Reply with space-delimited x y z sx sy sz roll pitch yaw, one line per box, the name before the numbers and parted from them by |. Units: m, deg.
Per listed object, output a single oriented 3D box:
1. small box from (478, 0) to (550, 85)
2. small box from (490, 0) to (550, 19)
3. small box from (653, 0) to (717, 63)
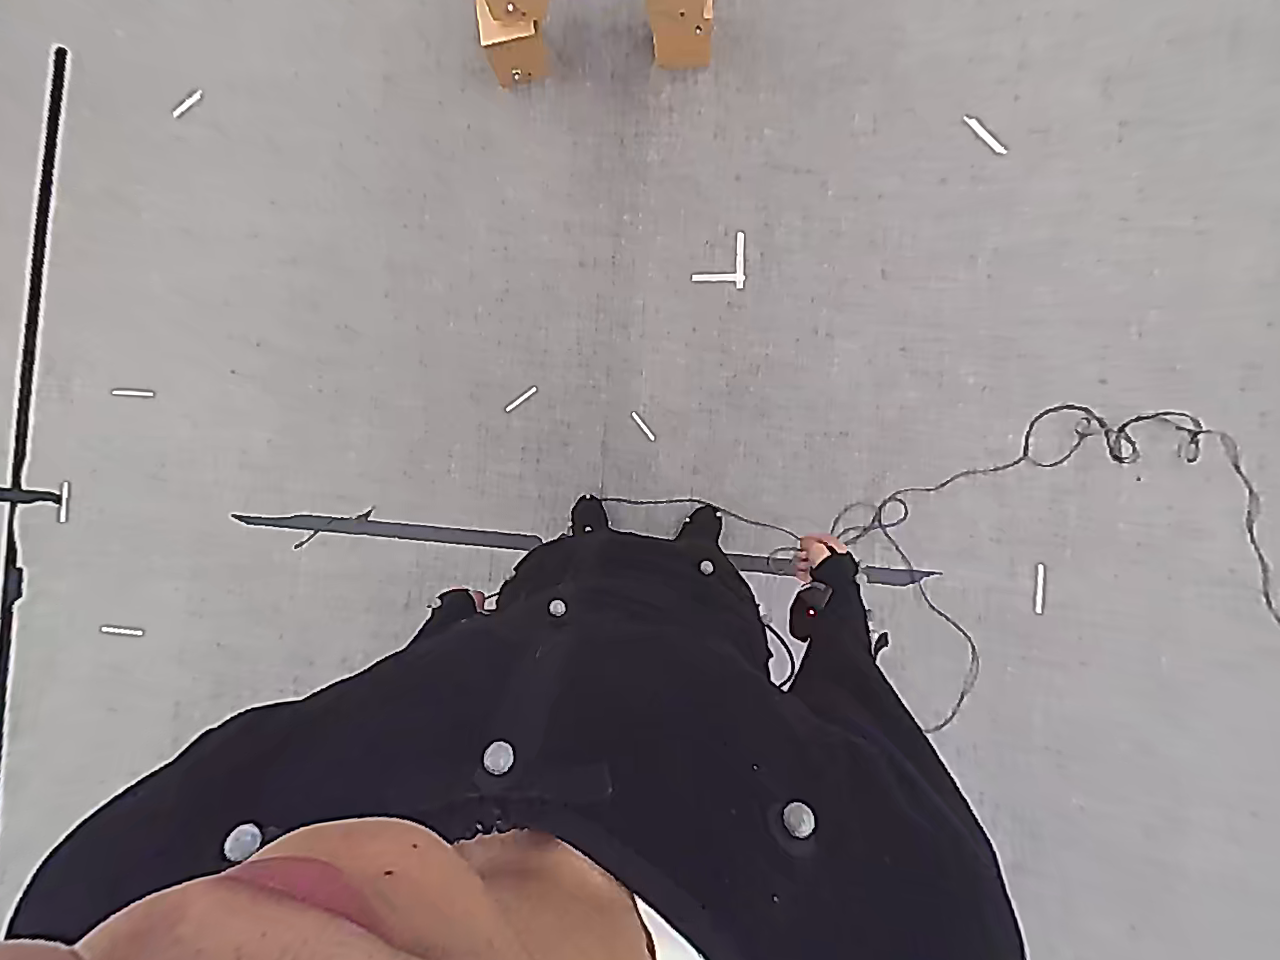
small box | -0.382 -1.367 1.655 0.168 0.176 0.179 -7 87 6
small box | -0.343 -1.429 1.489 0.168 0.176 0.179 7 88 8
small box | 0.136 -1.377 1.600 0.179 0.176 0.168 4 88 5
